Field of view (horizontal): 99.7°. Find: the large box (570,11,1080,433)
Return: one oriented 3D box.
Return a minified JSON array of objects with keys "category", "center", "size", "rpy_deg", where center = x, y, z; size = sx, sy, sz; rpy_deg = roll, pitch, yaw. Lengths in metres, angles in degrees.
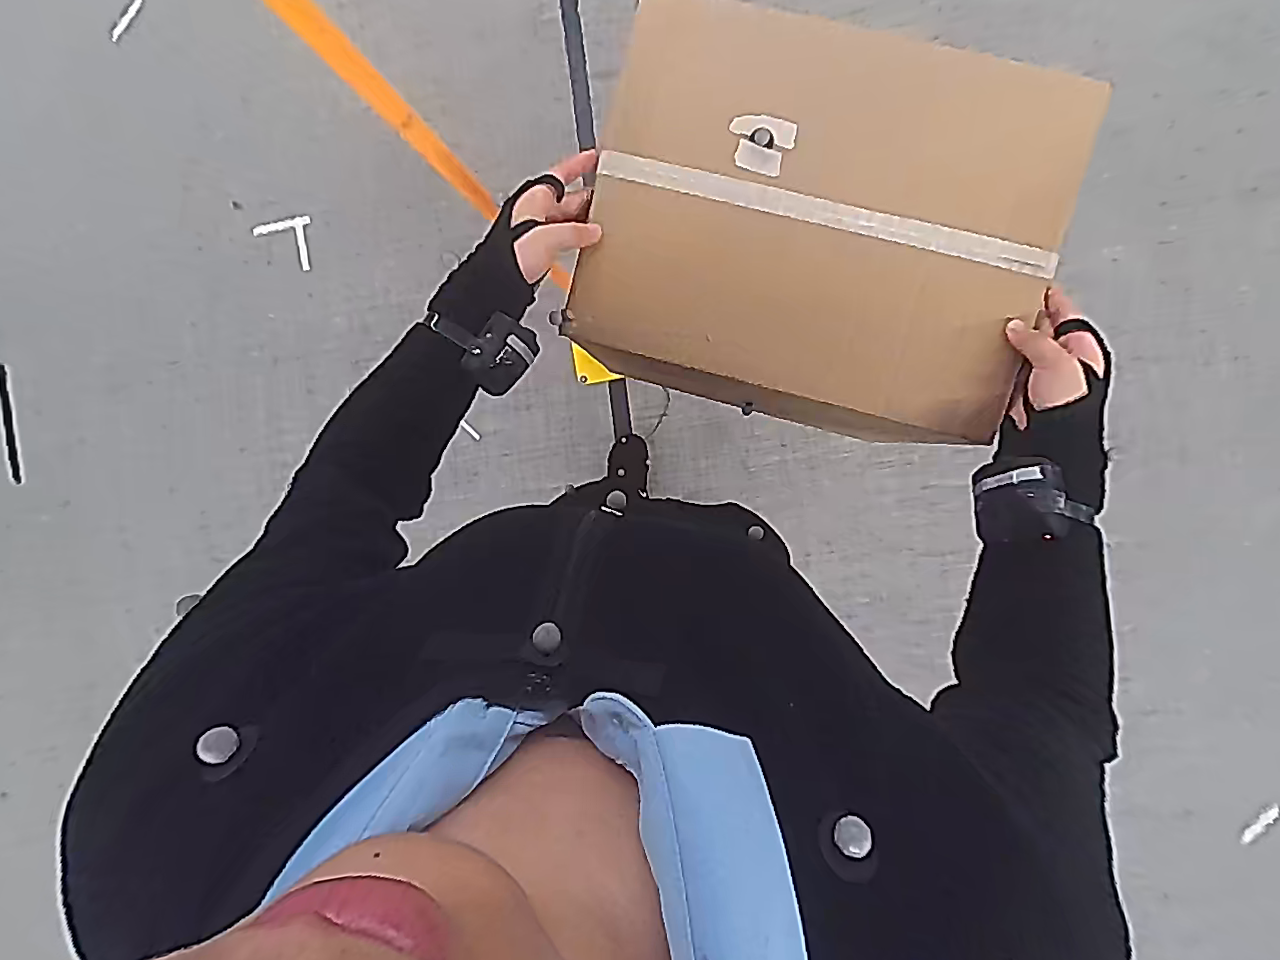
[{"category":"large box","center":[0.172,-0.248,0.643],"size":[0.408,0.320,0.320],"rpy_deg":[15,94,4]}]
